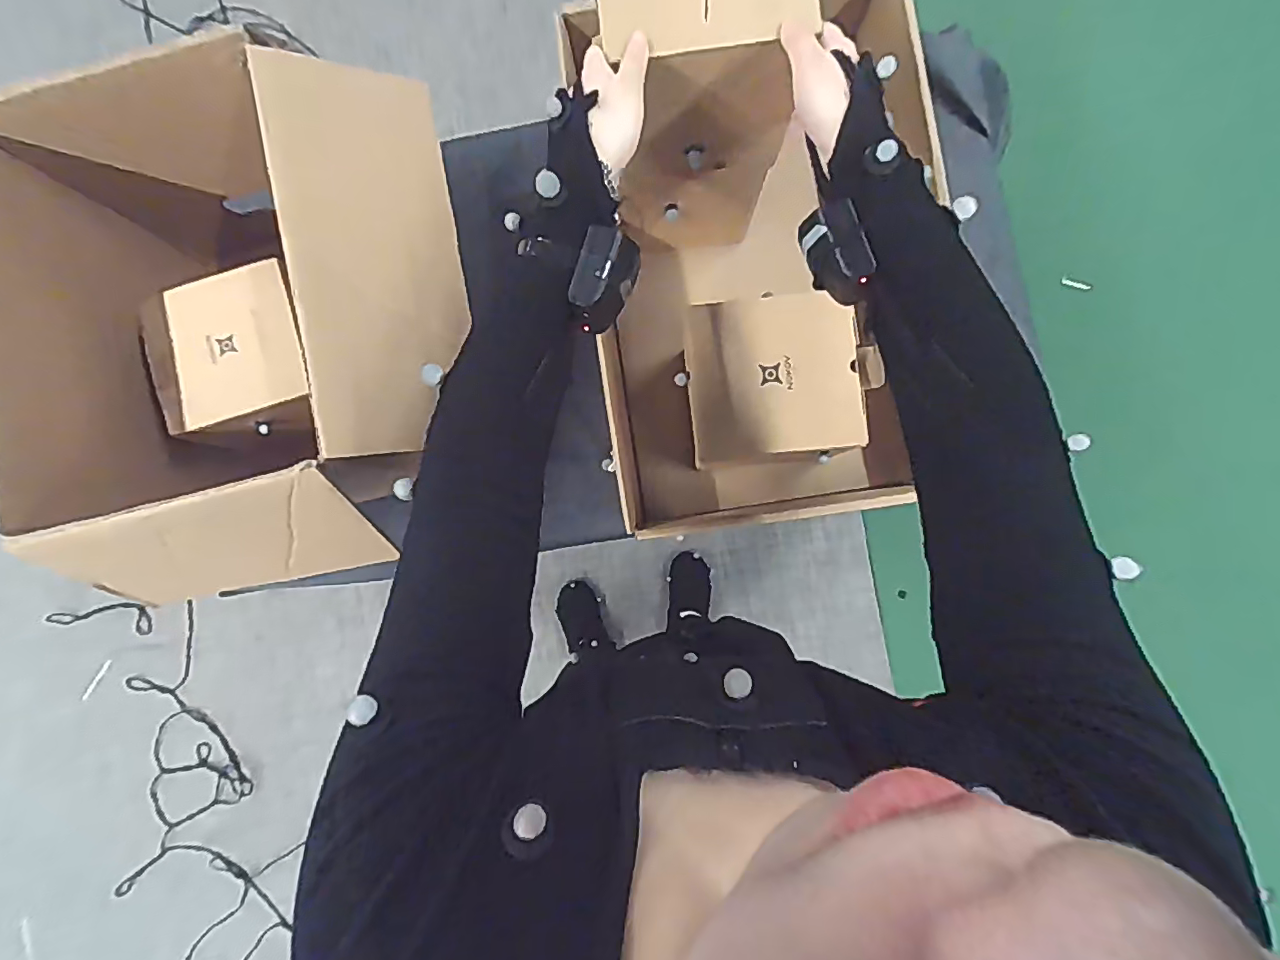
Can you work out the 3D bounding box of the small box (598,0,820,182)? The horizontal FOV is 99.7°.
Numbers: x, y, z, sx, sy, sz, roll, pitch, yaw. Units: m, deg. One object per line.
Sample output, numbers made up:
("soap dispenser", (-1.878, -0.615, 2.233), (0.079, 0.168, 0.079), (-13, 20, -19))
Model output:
("small box", (0.047, -0.407, 0.487), (0.168, 0.176, 0.179), (-7, 89, 2))
